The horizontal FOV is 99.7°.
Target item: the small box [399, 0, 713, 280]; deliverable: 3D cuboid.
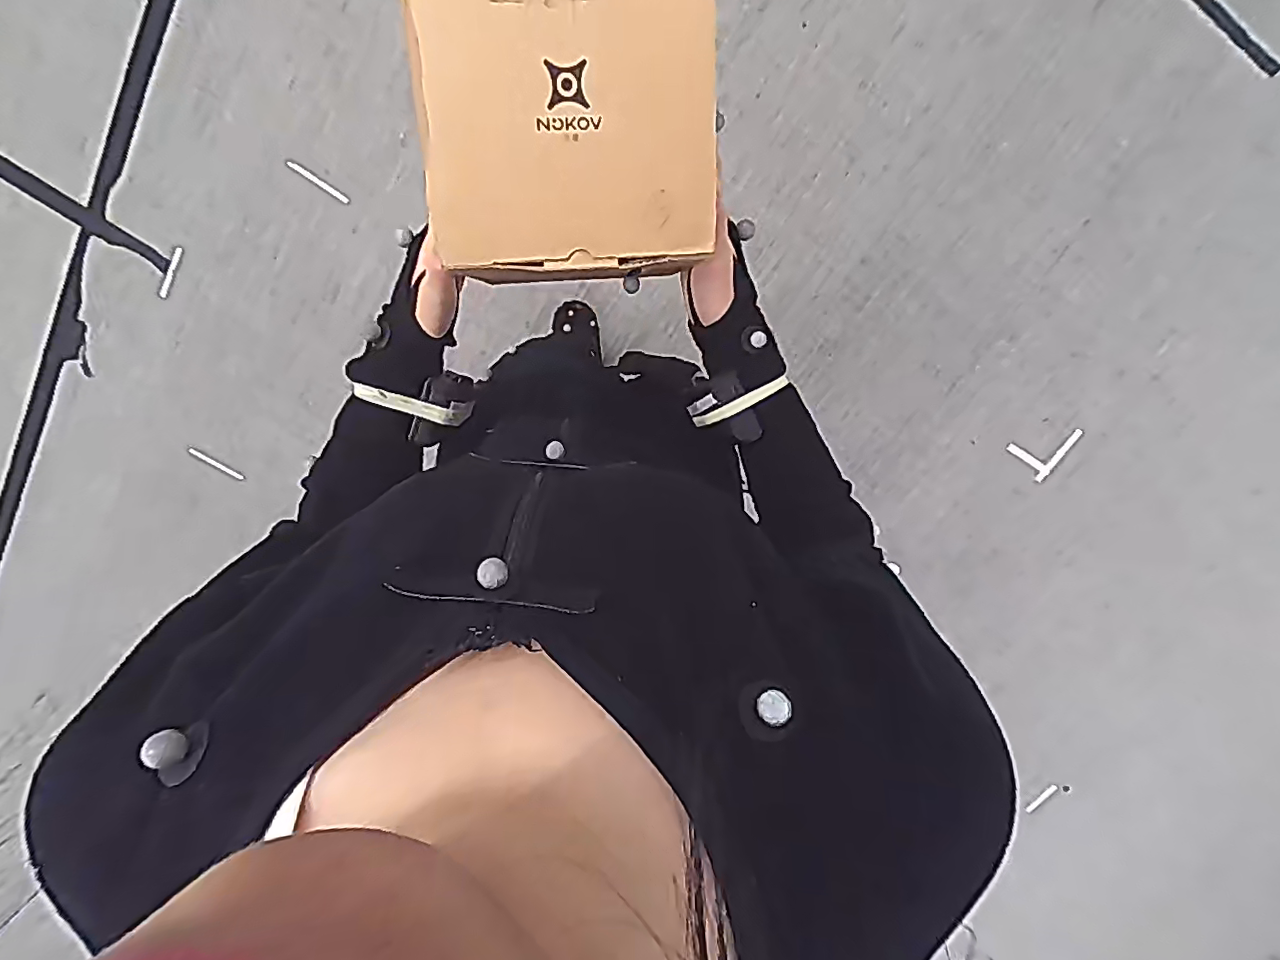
[{"bbox_3d":[-0.048,-0.234,0.371,0.168,0.176,0.179,-5,107,-5],"label":"small box"}]
